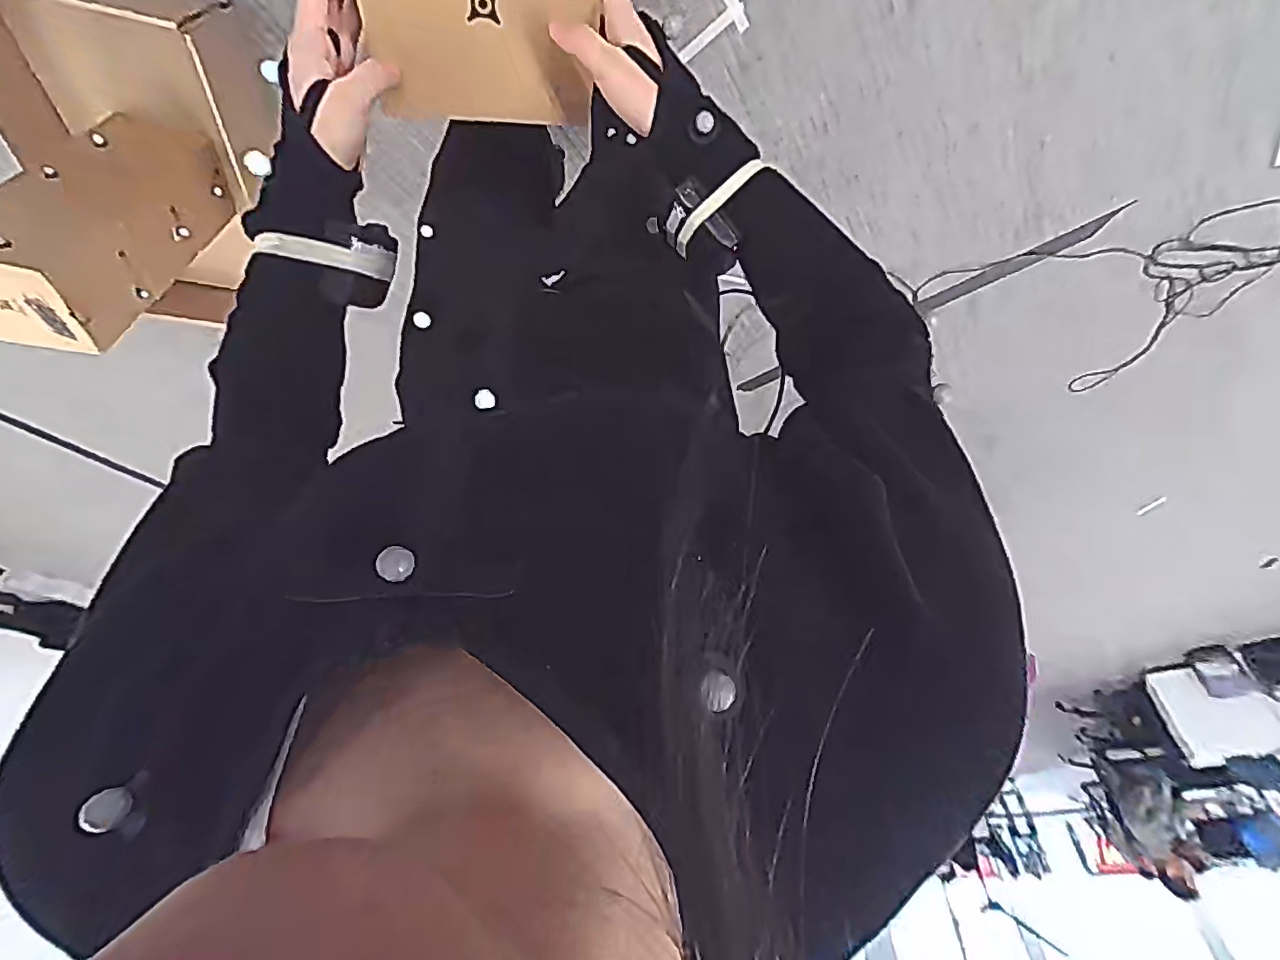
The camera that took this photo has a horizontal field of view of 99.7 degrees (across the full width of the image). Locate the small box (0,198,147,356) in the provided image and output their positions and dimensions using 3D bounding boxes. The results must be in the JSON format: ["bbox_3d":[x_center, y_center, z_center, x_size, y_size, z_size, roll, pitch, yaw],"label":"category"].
[{"bbox_3d":[-0.972,-0.334,0.889,0.179,0.176,0.168,8,142,-9],"label":"small box"}]

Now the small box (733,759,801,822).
[{"bbox_3d":[0.447,1.114,1.933,0.179,0.176,0.168,-28,136,29],"label":"small box"}]

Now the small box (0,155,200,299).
[{"bbox_3d":[-0.969,-0.464,0.990,0.179,0.176,0.168,7,142,-12],"label":"small box"}]

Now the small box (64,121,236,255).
[{"bbox_3d":[-0.969,-0.591,1.091,0.179,0.176,0.168,9,142,-12],"label":"small box"}]

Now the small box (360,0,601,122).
[{"bbox_3d":[-0.119,-0.409,0.397,0.168,0.176,0.179,-5,157,-14],"label":"small box"}]
